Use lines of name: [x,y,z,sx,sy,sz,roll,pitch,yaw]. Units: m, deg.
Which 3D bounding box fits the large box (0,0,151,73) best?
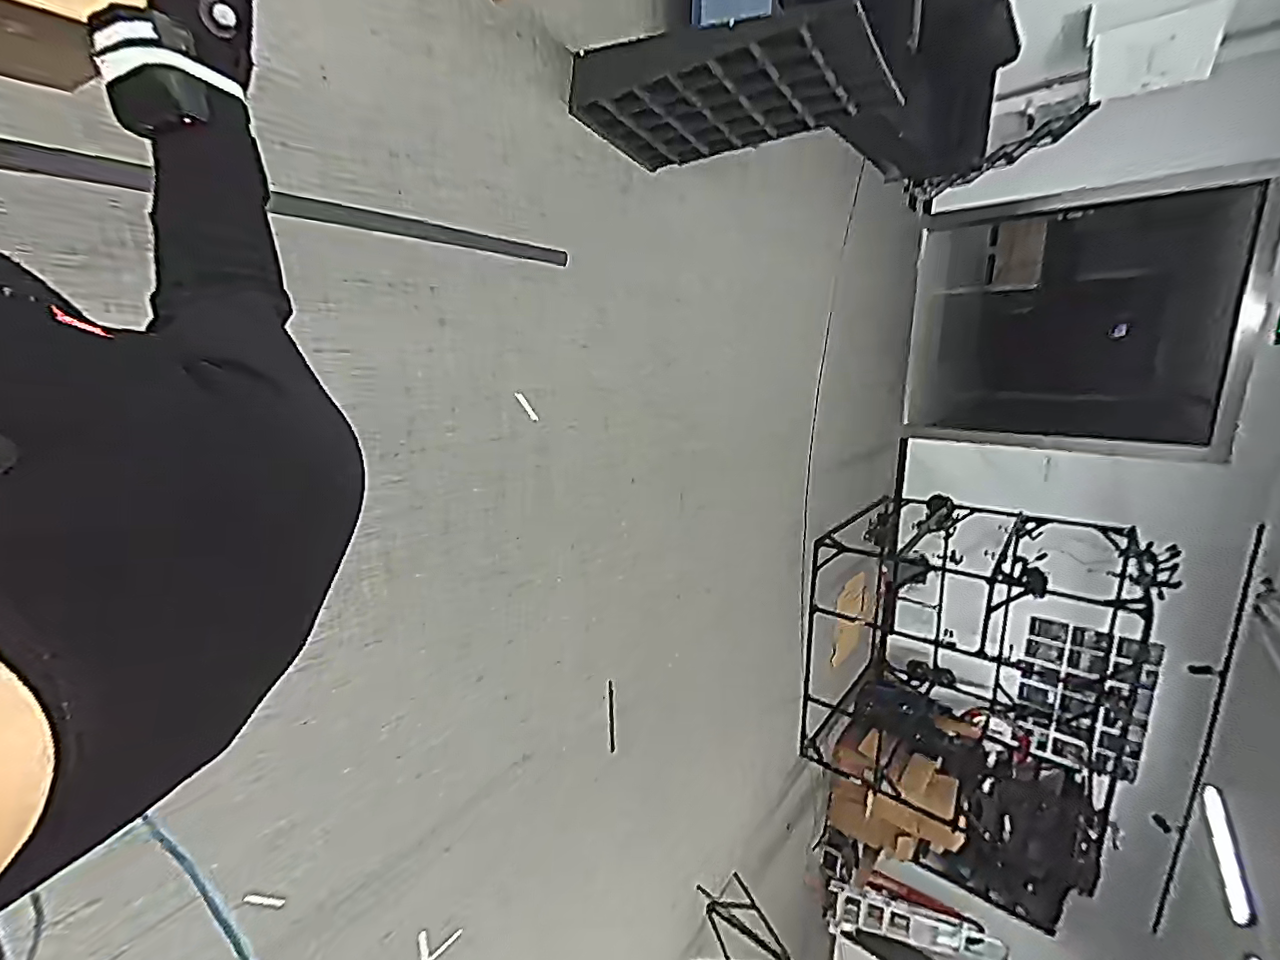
large box: [-0.578,-0.464,0.268,0.408,0.320,0.320,-21,124,-50]
